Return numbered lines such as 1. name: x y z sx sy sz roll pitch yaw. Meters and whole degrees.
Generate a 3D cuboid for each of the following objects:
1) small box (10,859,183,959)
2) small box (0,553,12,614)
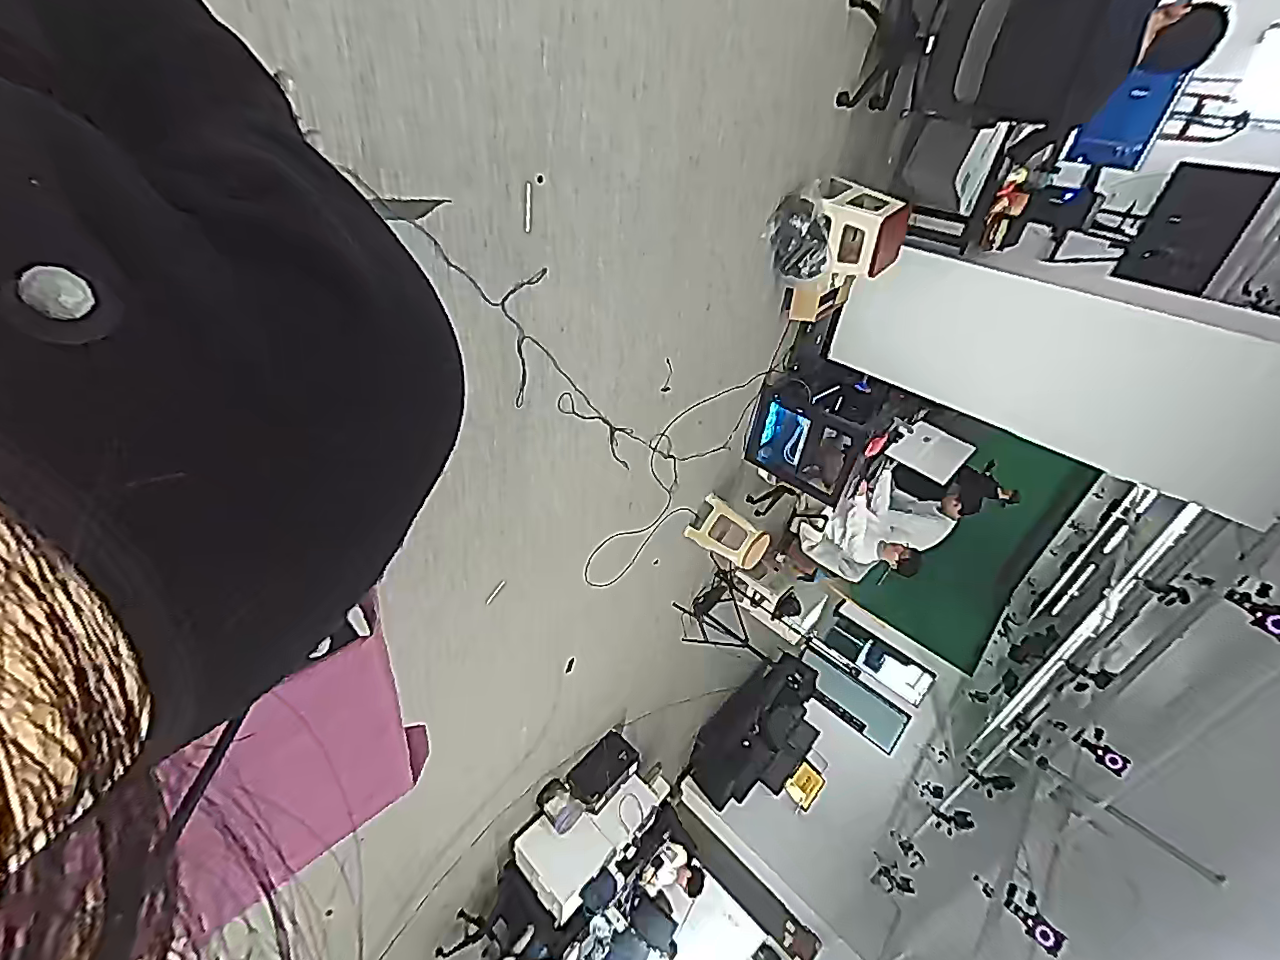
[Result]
1. small box: -0.842 0.755 0.849 0.168 0.176 0.179 -15 129 -49
2. small box: -1.354 0.176 1.023 0.179 0.176 0.168 -23 135 -43
